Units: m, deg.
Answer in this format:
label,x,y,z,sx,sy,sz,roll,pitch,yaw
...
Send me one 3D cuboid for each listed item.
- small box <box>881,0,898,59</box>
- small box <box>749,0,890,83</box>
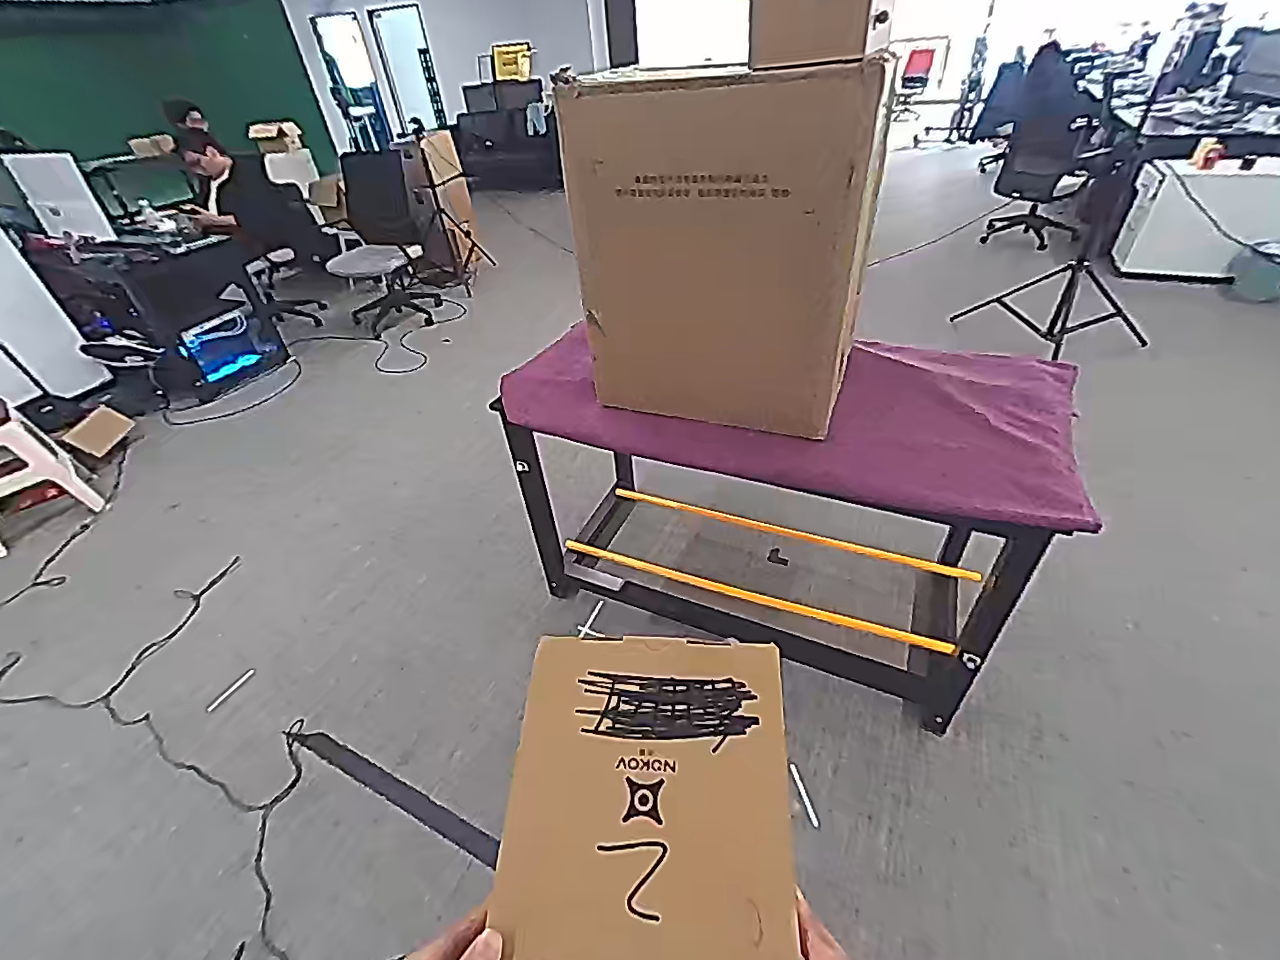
label,x,y,z,sx,sy,sz,roll,pitch,yaw
small box,0.344,-0.811,0.921,0.168,0.176,0.179,13,42,23
small box,0.260,-0.684,0.770,0.168,0.176,0.179,14,43,23
